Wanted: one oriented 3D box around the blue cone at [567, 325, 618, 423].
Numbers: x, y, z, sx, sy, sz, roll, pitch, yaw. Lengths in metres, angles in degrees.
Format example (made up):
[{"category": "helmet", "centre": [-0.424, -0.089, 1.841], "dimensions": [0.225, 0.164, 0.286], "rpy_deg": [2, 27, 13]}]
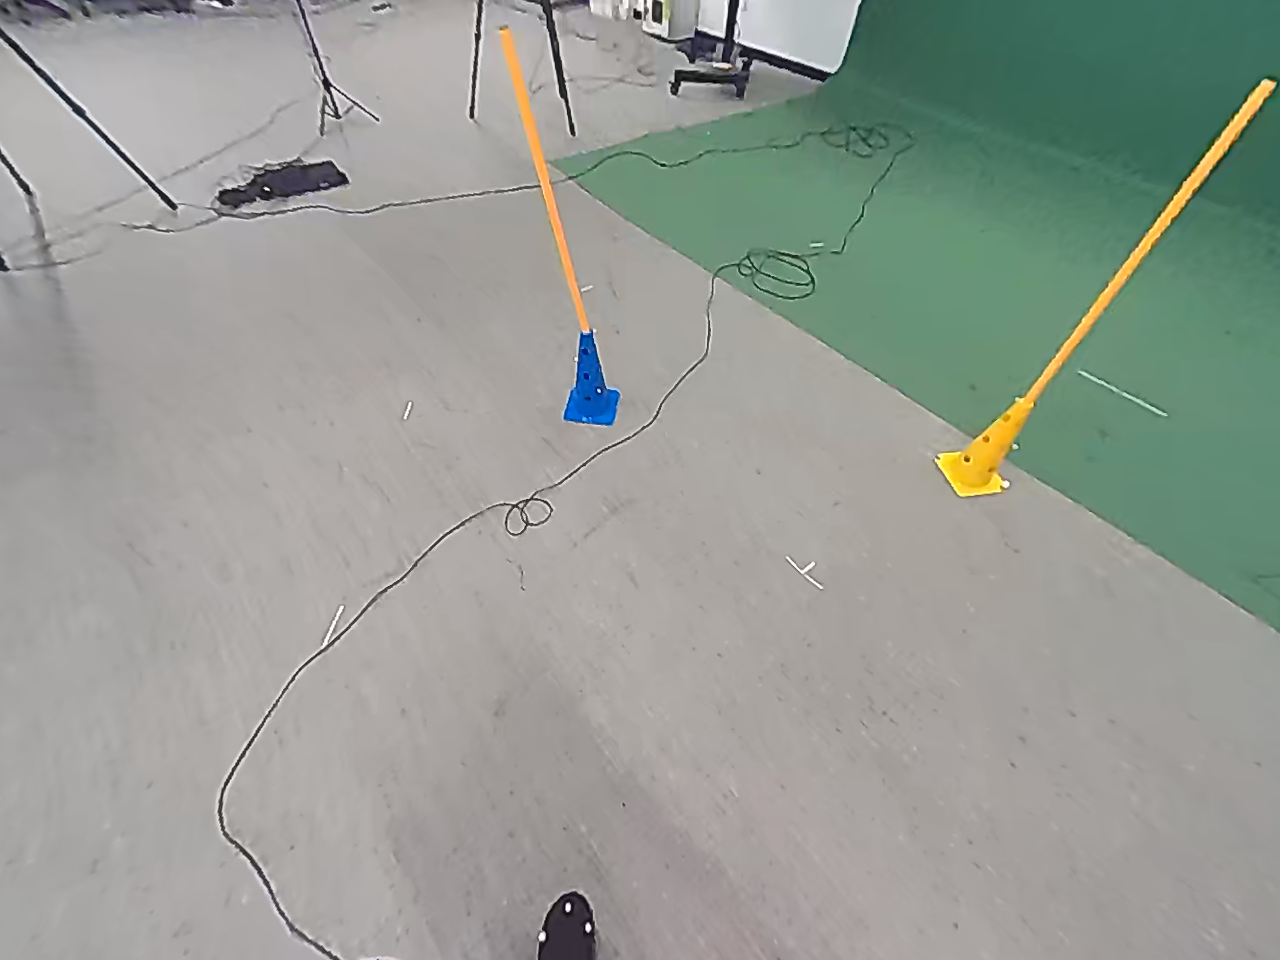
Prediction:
[{"category": "blue cone", "centre": [-0.186, -0.398, 1.996], "dimensions": [0.193, 0.380, 0.192], "rpy_deg": [5, 52, 4]}]
